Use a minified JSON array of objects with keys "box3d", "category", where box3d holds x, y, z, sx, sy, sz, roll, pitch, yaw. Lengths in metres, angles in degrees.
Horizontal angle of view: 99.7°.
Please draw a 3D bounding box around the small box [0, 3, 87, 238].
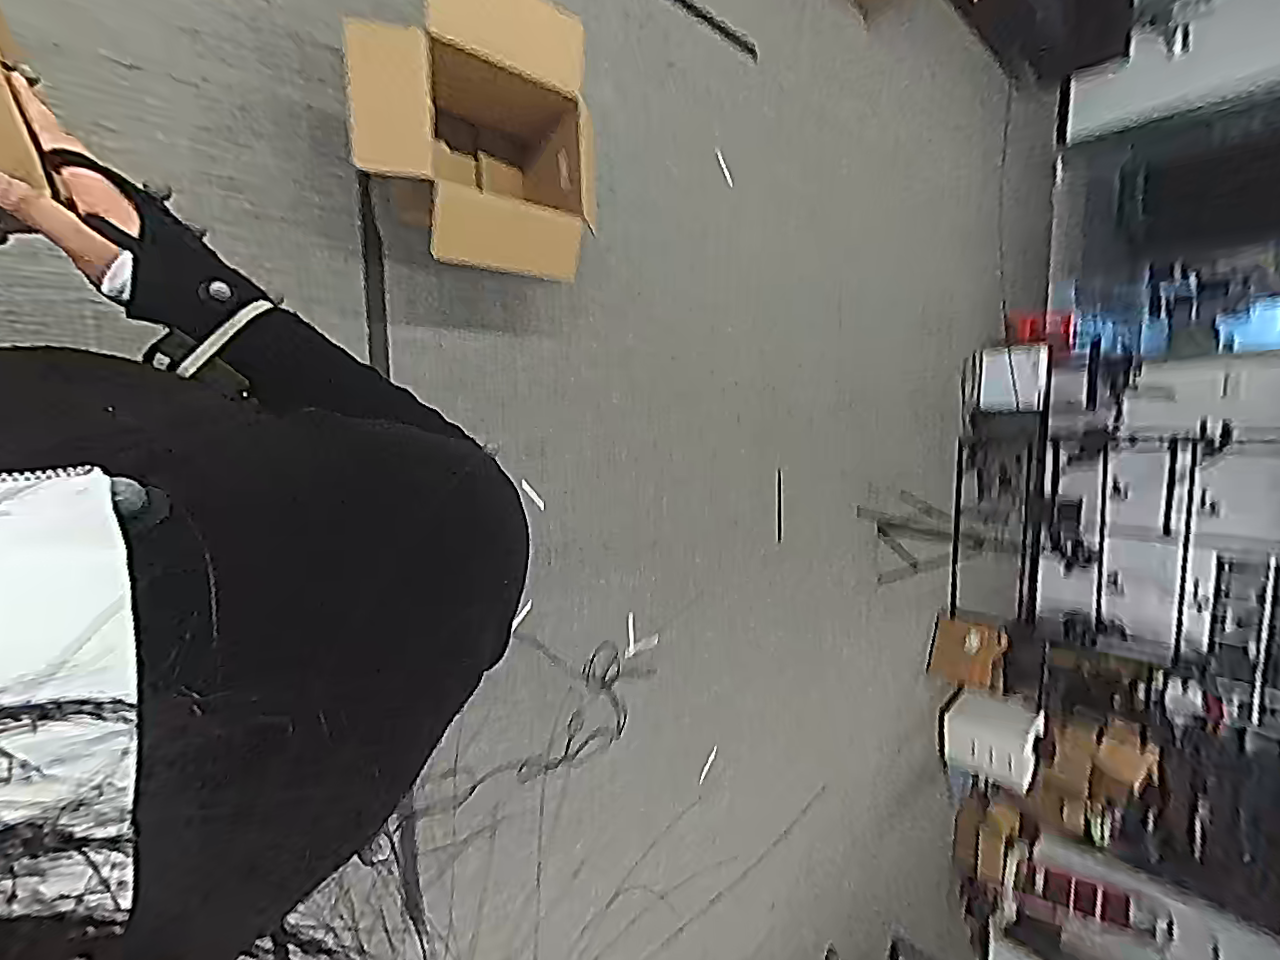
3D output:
[{"box3d":[-0.499,-0.253,0.341,0.168,0.176,0.179,-20,115,-35],"category":"small box"}]
